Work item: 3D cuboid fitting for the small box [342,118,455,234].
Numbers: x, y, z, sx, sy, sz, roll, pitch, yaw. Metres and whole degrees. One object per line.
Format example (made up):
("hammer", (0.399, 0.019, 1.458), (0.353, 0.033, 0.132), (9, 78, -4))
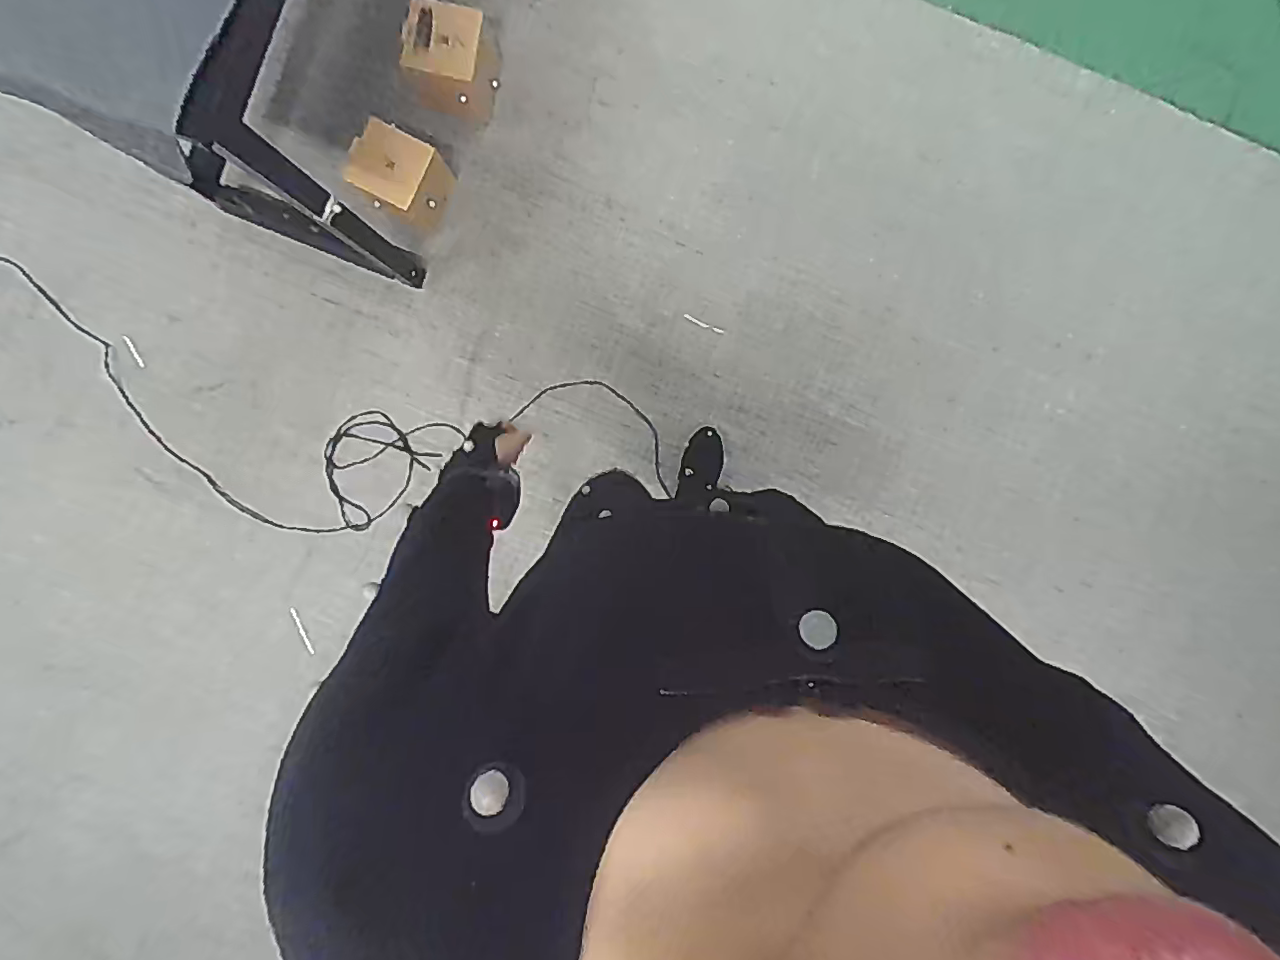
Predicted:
("small box", (-0.595, -0.751, 1.361), (0.179, 0.176, 0.168), (27, 93, -1))
